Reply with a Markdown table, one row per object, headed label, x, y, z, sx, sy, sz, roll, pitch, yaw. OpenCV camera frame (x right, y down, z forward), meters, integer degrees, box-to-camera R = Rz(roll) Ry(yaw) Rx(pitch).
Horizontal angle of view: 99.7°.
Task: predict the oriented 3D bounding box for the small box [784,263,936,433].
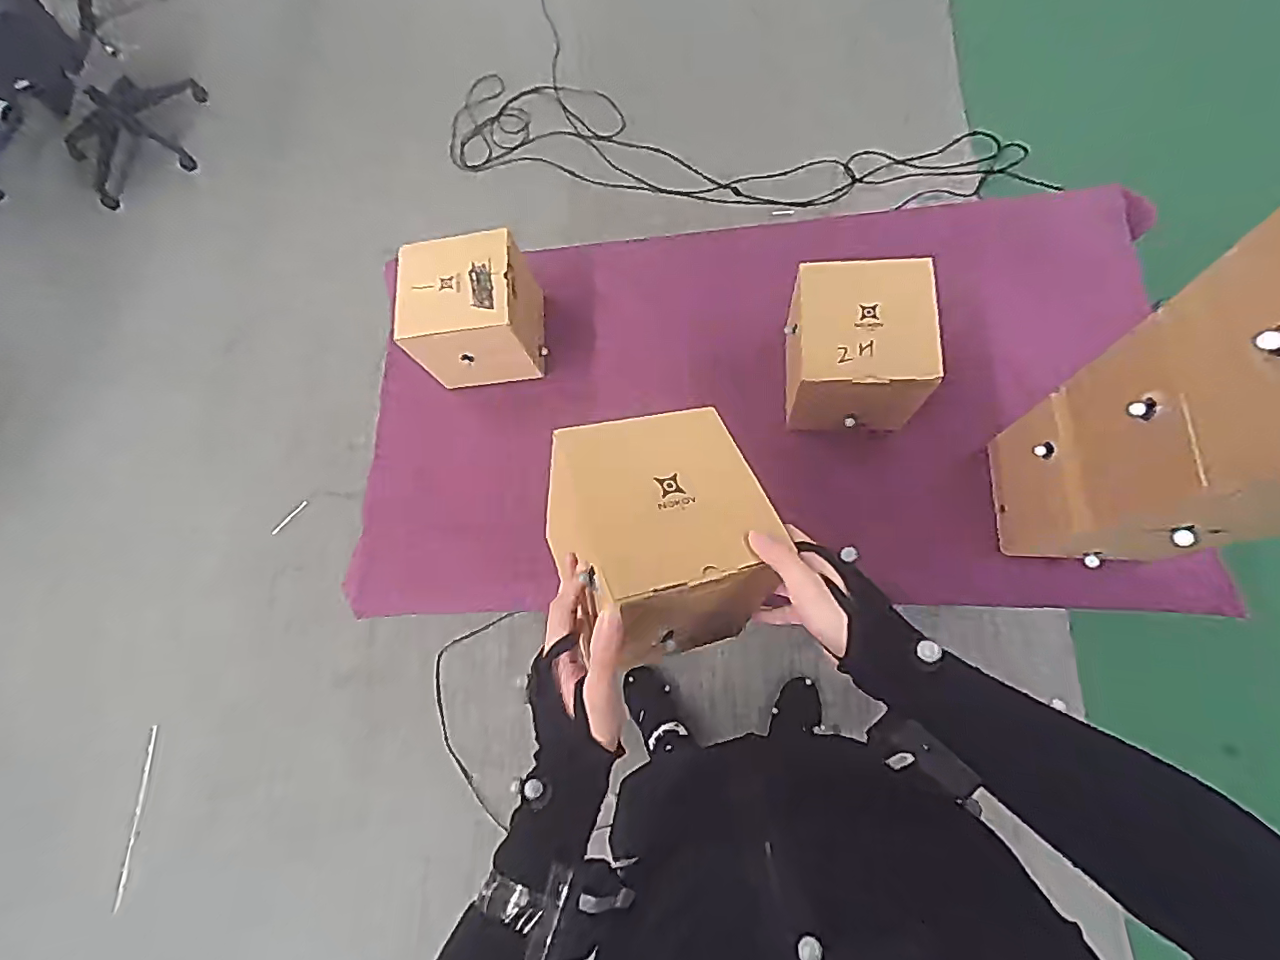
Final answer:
| label | x | y | z | sx | sy | sz | roll | pitch | yaw |
| --- | --- | --- | --- | --- | --- | --- | --- | --- | --- |
| small box | 0.296 | -0.180 | 0.763 | 0.168 | 0.176 | 0.179 | 2 | 75 | 9 |

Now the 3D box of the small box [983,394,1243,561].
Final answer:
| label | x | y | z | sx | sy | sz | roll | pitch | yaw |
| --- | --- | --- | --- | --- | --- | --- | --- | --- | --- |
| small box | 0.563 | 0.005 | 0.669 | 0.179 | 0.176 | 0.168 | 2 | 73 | 9 |

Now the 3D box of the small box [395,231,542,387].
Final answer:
| label | x | y | z | sx | sy | sz | roll | pitch | yaw |
| --- | --- | --- | --- | --- | --- | --- | --- | --- | --- |
| small box | -0.262 | -0.264 | 0.868 | 0.179 | 0.176 | 0.168 | -6 | 74 | 7 |

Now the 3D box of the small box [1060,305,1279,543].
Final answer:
| label | x | y | z | sx | sy | sz | roll | pitch | yaw |
| --- | --- | --- | --- | --- | --- | --- | --- | --- | --- |
| small box | 0.541 | -0.045 | 0.515 | 0.168 | 0.176 | 0.179 | 1 | 74 | 11 |

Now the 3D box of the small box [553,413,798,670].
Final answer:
| label | x | y | z | sx | sy | sz | roll | pitch | yaw |
| --- | --- | --- | --- | --- | --- | --- | --- | --- | --- |
| small box | 0.016 | 0.059 | 0.533 | 0.168 | 0.176 | 0.179 | -9 | 55 | -20 |
